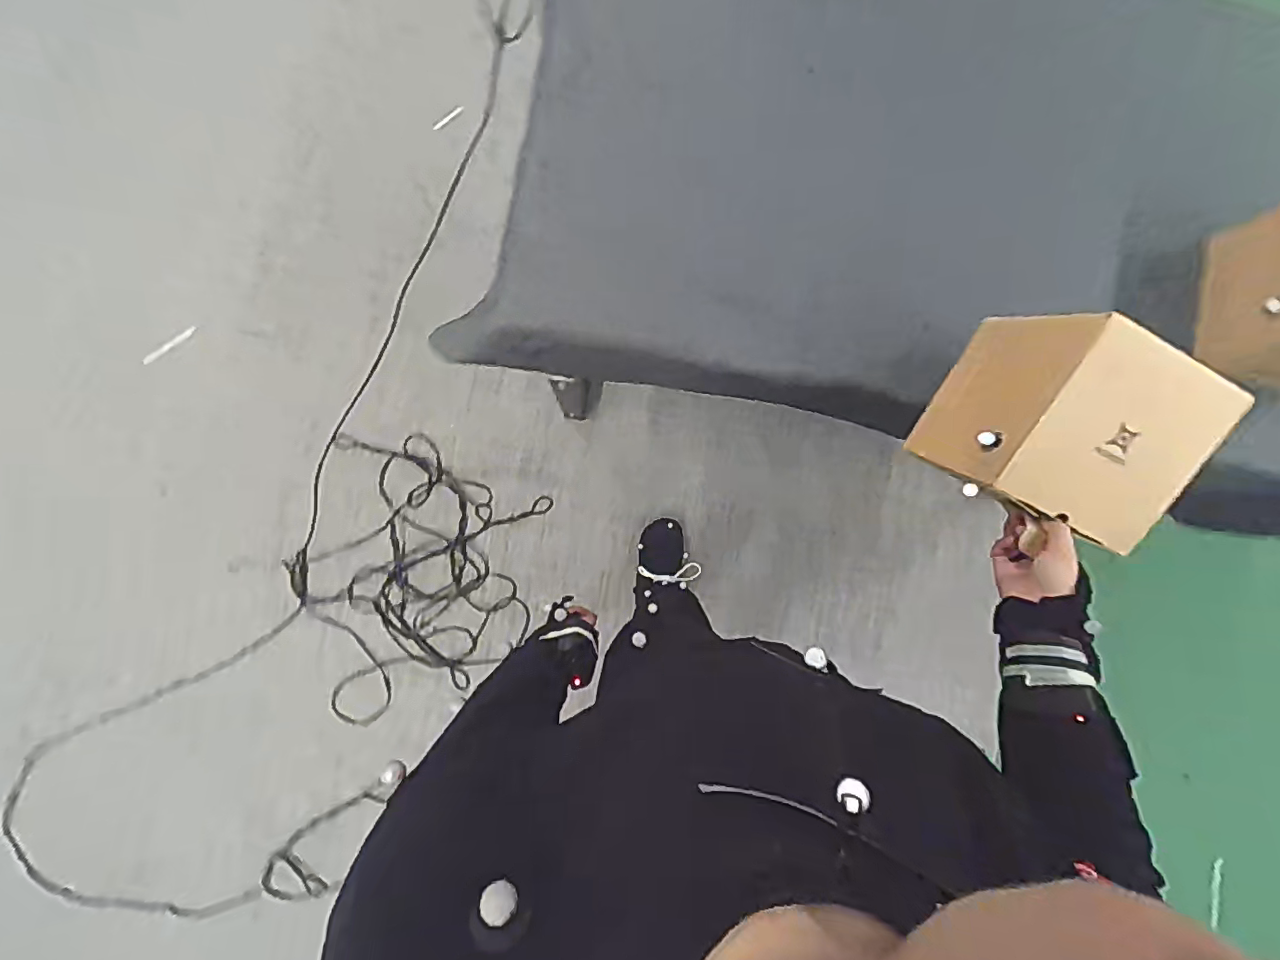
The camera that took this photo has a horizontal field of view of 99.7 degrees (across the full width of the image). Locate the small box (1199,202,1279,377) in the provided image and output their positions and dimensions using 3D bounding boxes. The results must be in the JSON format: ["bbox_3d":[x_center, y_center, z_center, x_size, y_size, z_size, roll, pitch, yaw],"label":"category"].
[{"bbox_3d":[0.801,-0.223,0.615,0.168,0.176,0.179,11,84,-5],"label":"small box"}]

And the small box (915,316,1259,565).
[{"bbox_3d":[0.423,-0.049,0.549,0.168,0.176,0.179,25,104,-9],"label":"small box"}]
